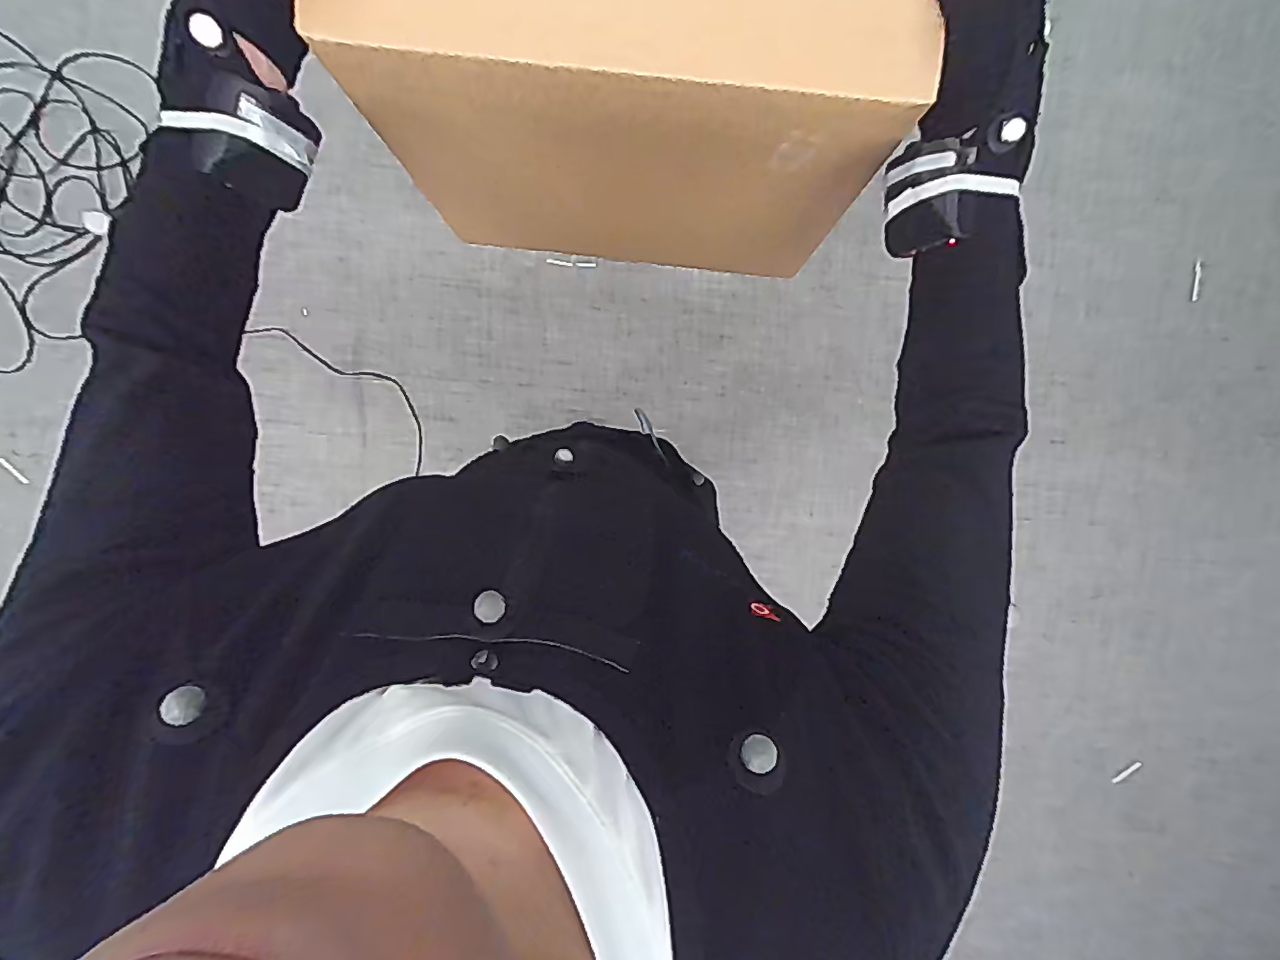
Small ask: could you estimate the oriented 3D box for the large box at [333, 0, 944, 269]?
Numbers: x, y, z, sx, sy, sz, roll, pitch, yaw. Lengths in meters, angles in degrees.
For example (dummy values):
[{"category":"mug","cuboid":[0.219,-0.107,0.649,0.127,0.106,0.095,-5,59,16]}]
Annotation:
[{"category":"large box","cuboid":[0.006,-0.418,0.498,0.408,0.320,0.320,6,91,-2]}]
